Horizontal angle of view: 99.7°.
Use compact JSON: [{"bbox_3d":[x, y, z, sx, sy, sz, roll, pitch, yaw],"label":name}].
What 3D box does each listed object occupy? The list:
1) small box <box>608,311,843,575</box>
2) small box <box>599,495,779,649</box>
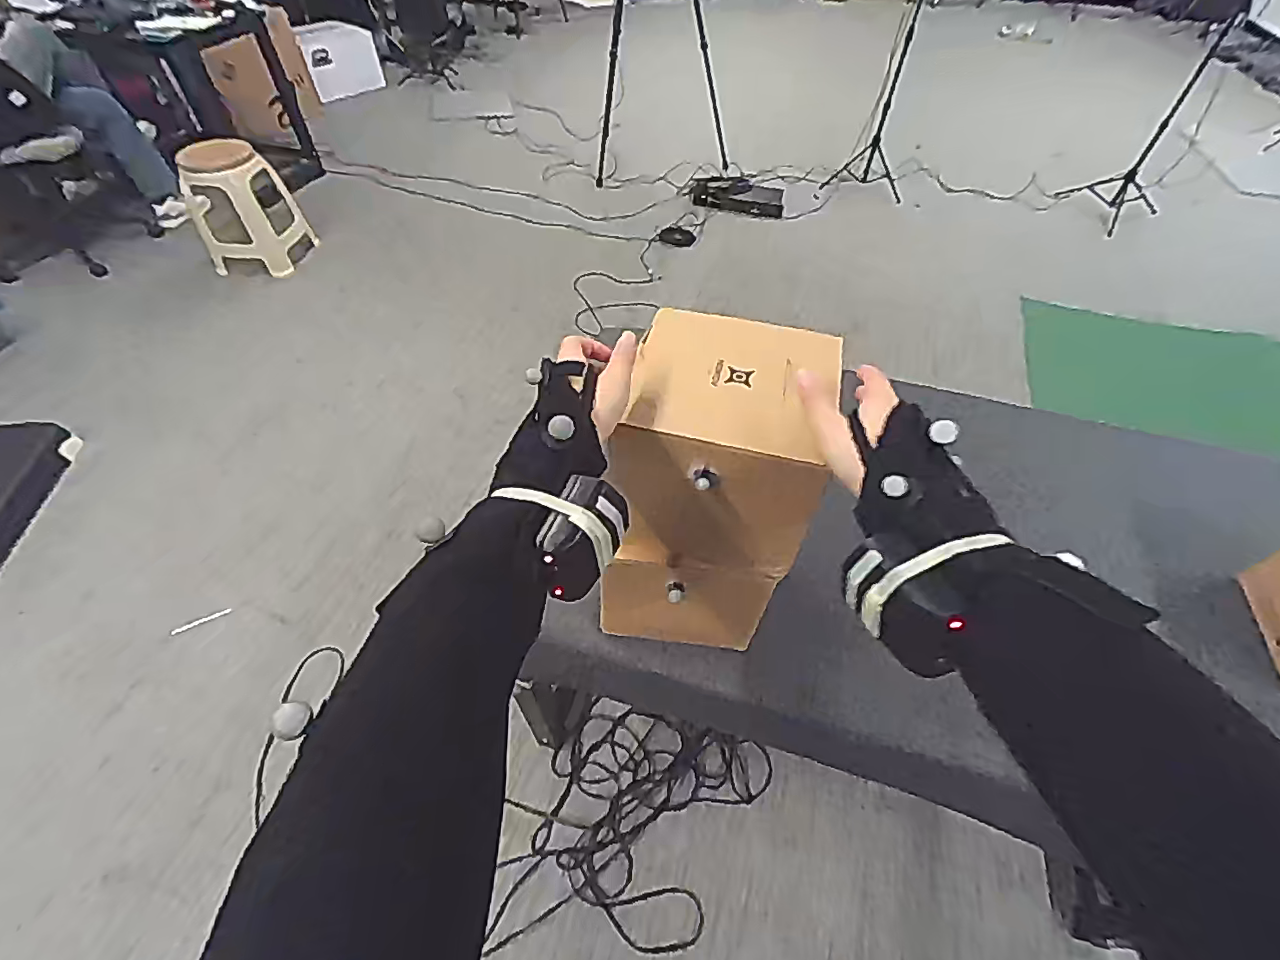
[{"bbox_3d":[0.077,-0.031,0.512,0.179,0.176,0.168,13,51,8],"label":"small box"},{"bbox_3d":[0.054,0.080,0.629,0.179,0.176,0.168,6,49,4],"label":"small box"}]
